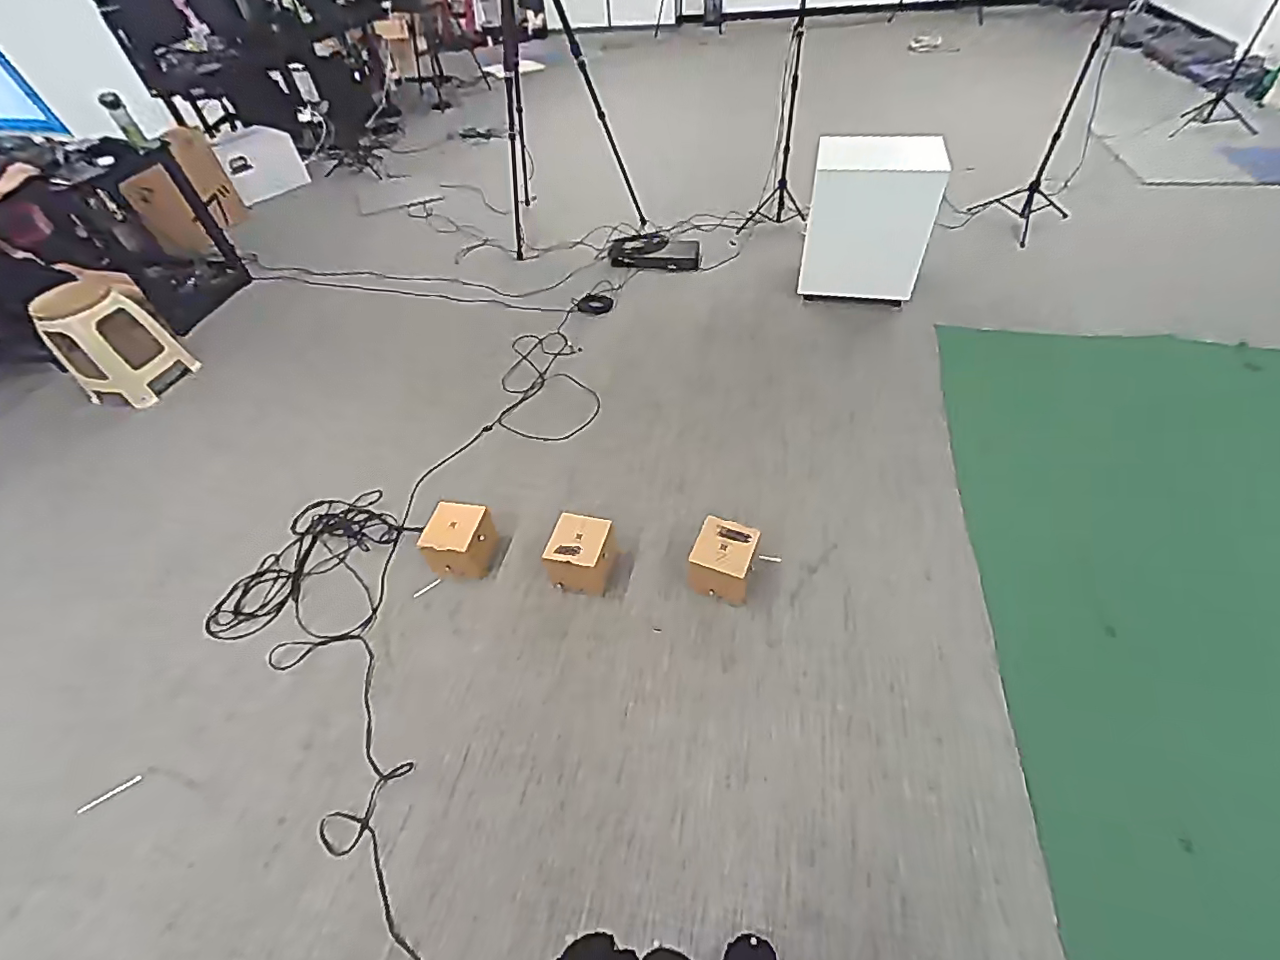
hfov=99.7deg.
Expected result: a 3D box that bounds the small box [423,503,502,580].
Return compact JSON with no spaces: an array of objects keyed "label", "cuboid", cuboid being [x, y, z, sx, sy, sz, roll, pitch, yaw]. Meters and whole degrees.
[{"label":"small box","cuboid":[-0.563,0.198,1.749,0.168,0.176,0.179,5,50,11]}]

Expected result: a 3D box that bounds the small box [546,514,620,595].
[{"label":"small box","cuboid":[-0.168,0.234,1.674,0.168,0.176,0.179,9,50,14]}]
